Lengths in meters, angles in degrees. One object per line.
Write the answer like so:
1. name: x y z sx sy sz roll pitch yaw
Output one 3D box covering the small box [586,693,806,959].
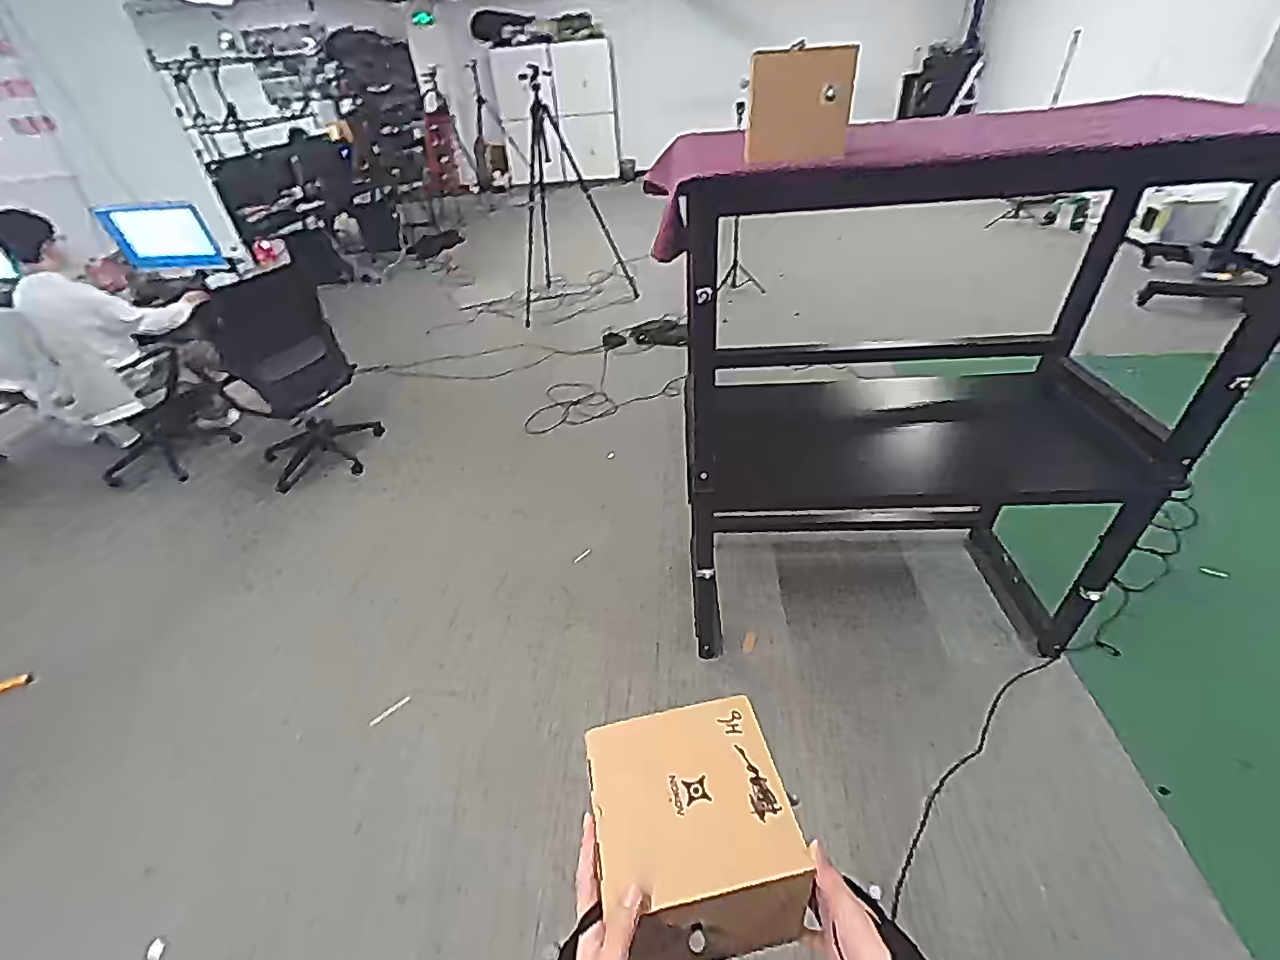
1. small box: 0.051 0.349 0.542 0.179 0.176 0.168 -10 34 -4
